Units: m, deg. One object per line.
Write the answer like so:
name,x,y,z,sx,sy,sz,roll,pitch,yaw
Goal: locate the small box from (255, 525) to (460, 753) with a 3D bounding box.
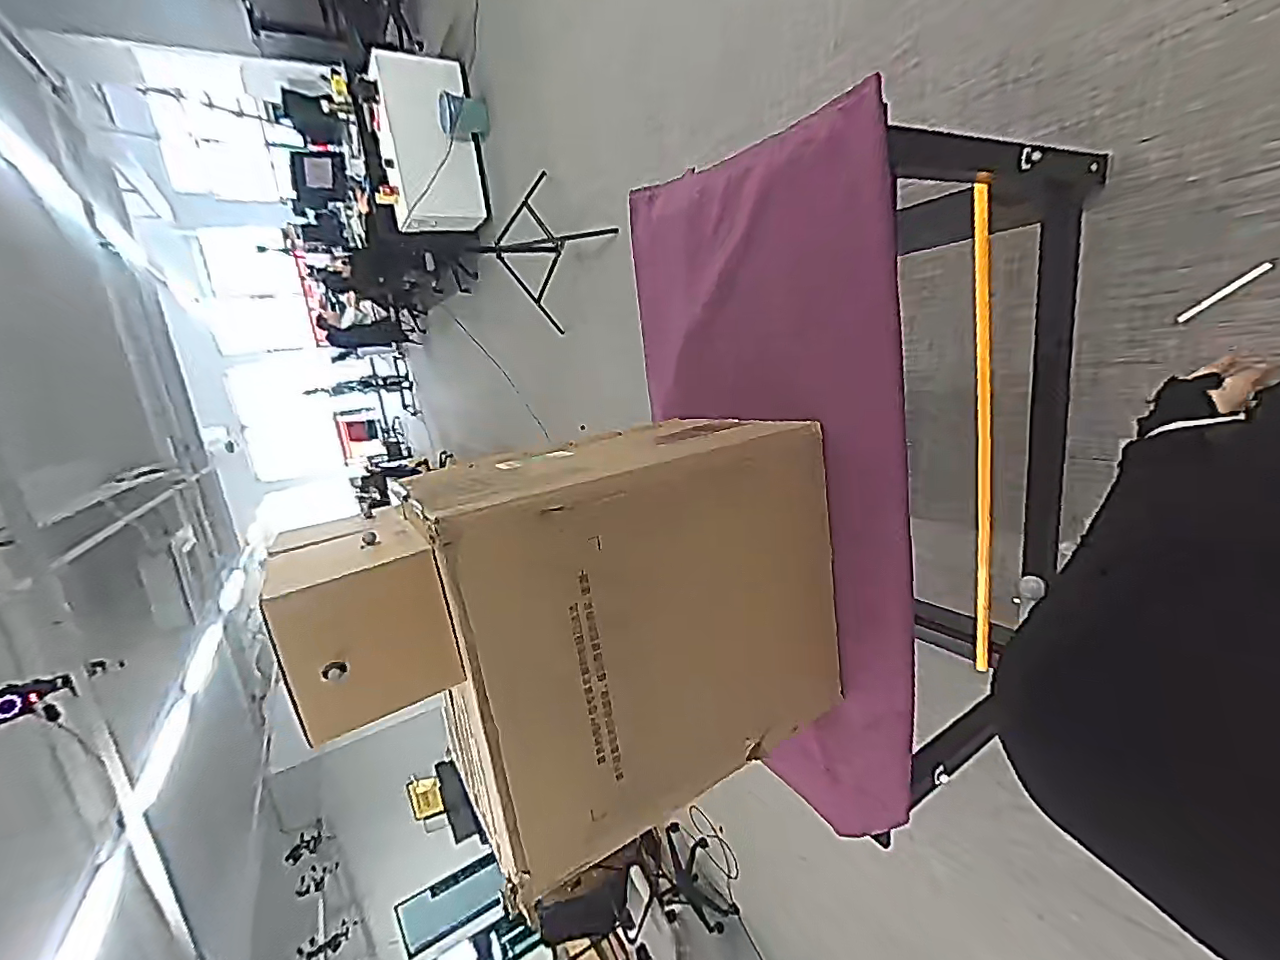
small box,-0.328,0.172,0.645,0.168,0.176,0.179,14,116,57
